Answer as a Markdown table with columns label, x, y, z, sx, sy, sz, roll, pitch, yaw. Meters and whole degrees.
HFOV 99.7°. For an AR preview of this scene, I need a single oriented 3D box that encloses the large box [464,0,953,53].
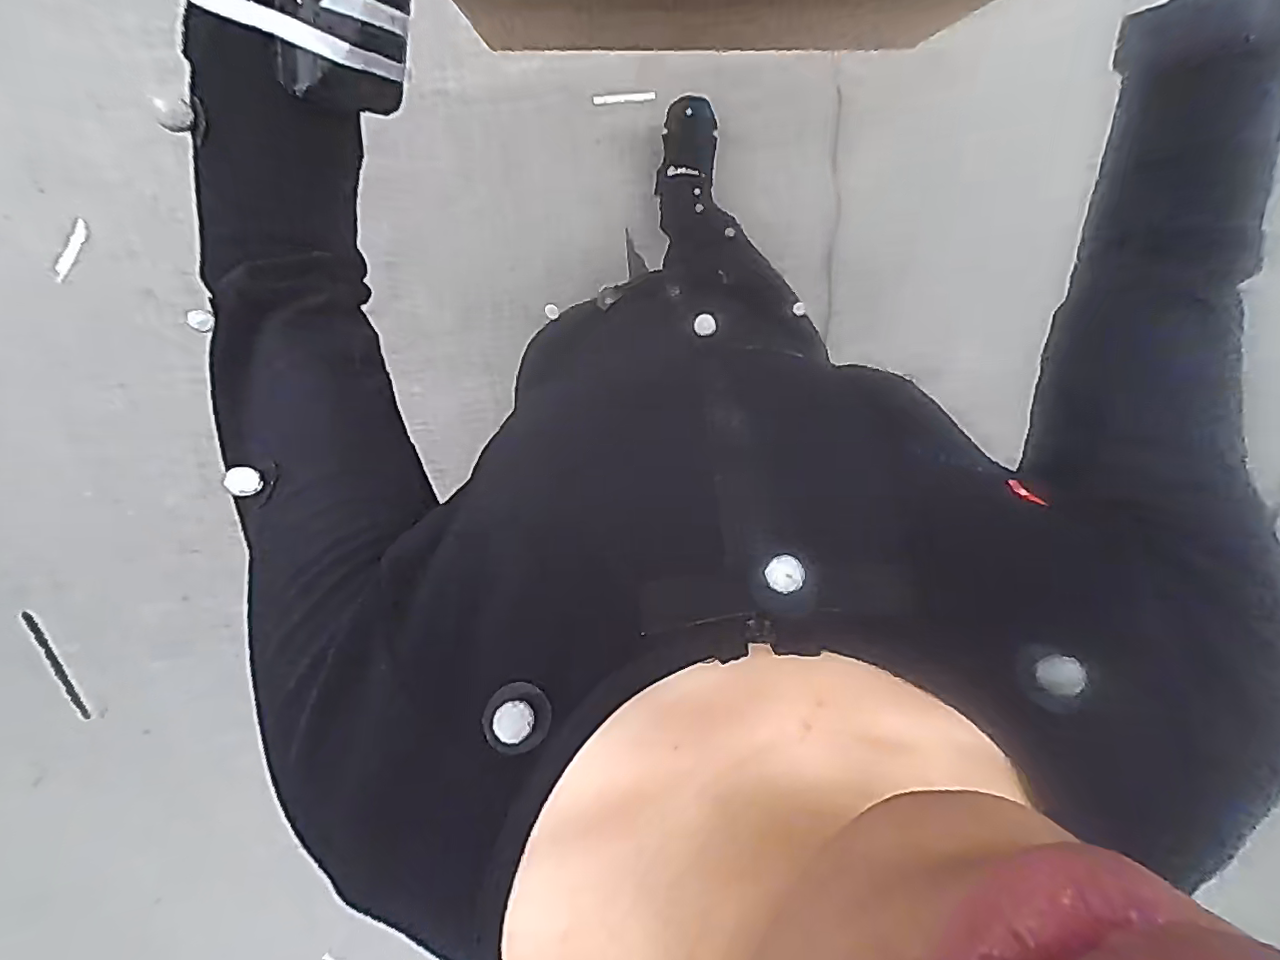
| label | x | y | z | sx | sy | sz | roll | pitch | yaw |
| --- | --- | --- | --- | --- | --- | --- | --- | --- | --- |
| large box | 0.058 | -0.489 | 0.316 | 0.408 | 0.320 | 0.320 | -2 | 116 | -2 |
